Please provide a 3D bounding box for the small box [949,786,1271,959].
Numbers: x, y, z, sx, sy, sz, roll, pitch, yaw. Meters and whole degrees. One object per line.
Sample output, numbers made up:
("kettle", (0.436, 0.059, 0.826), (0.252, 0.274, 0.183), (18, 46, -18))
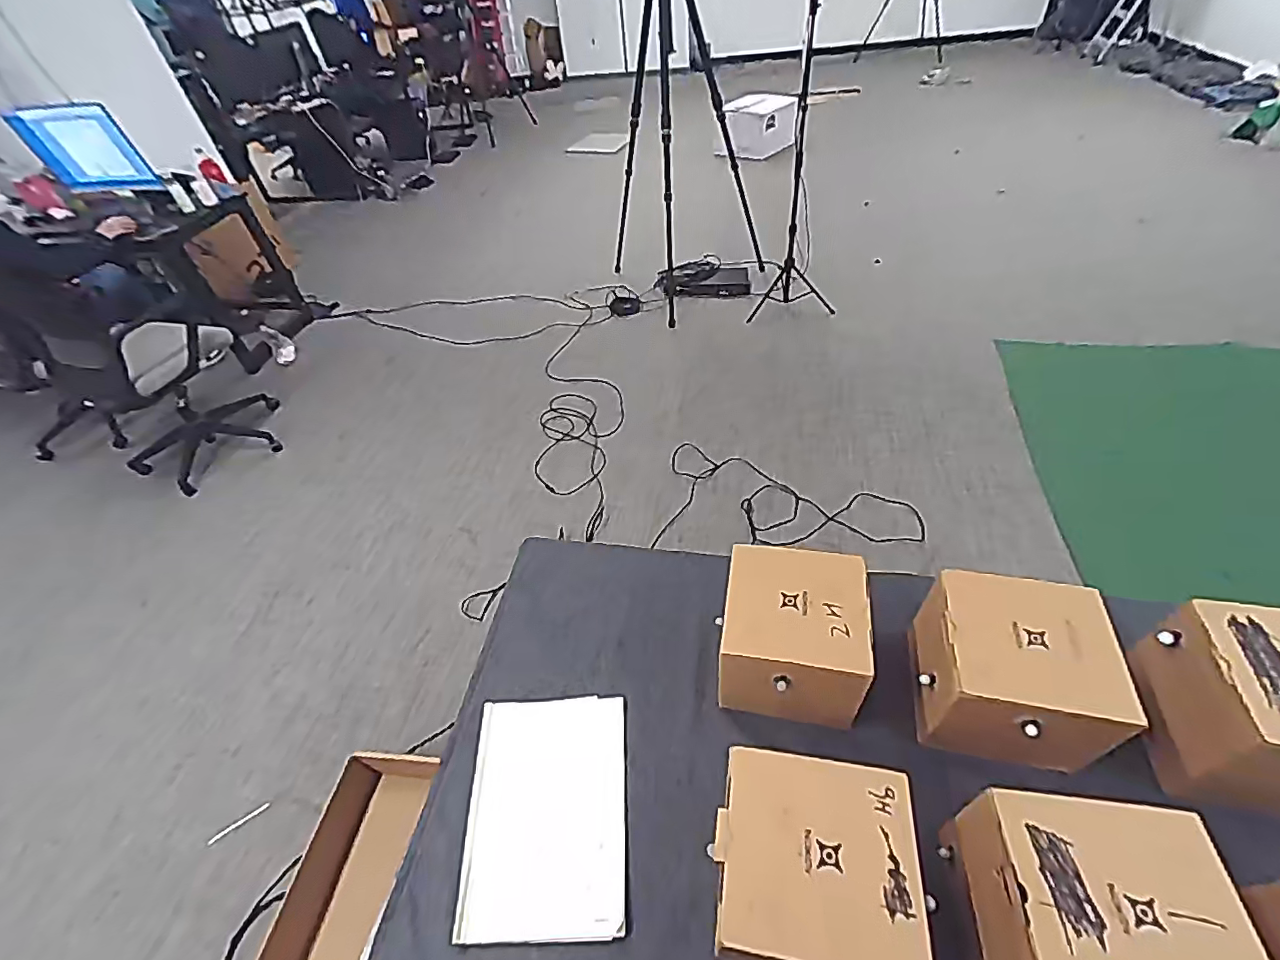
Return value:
("small box", (0.412, 0.409, 0.502), (0.179, 0.176, 0.168), (3, 46, 9))
